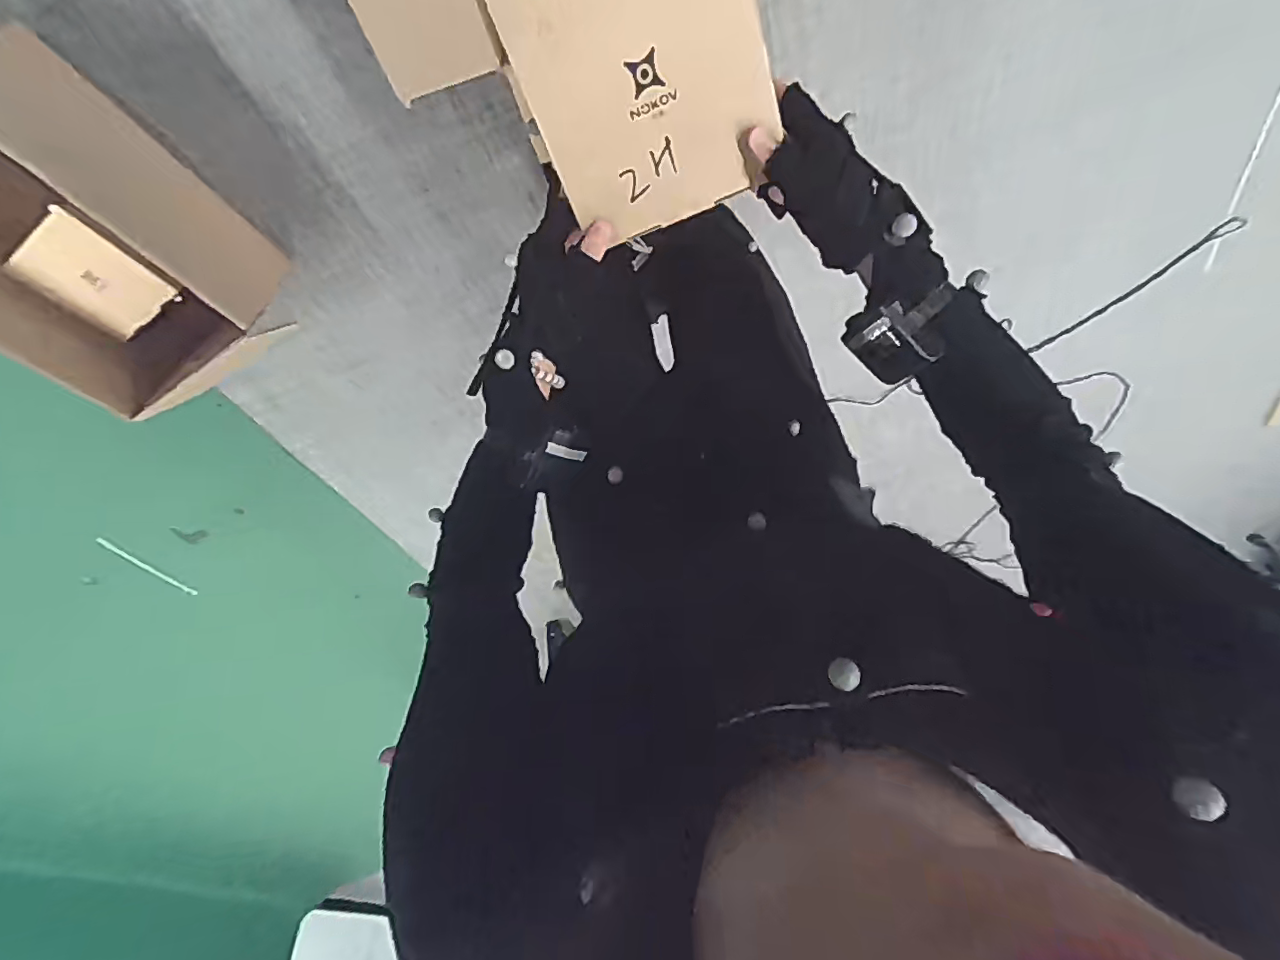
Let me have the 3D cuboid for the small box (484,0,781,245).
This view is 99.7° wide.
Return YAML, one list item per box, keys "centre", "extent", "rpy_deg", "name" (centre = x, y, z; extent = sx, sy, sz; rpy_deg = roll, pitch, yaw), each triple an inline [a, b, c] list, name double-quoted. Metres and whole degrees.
- centre: [0.003, -0.323, 0.442]
  extent: [0.168, 0.176, 0.179]
  rpy_deg: [-17, 123, 14]
  name: "small box"
